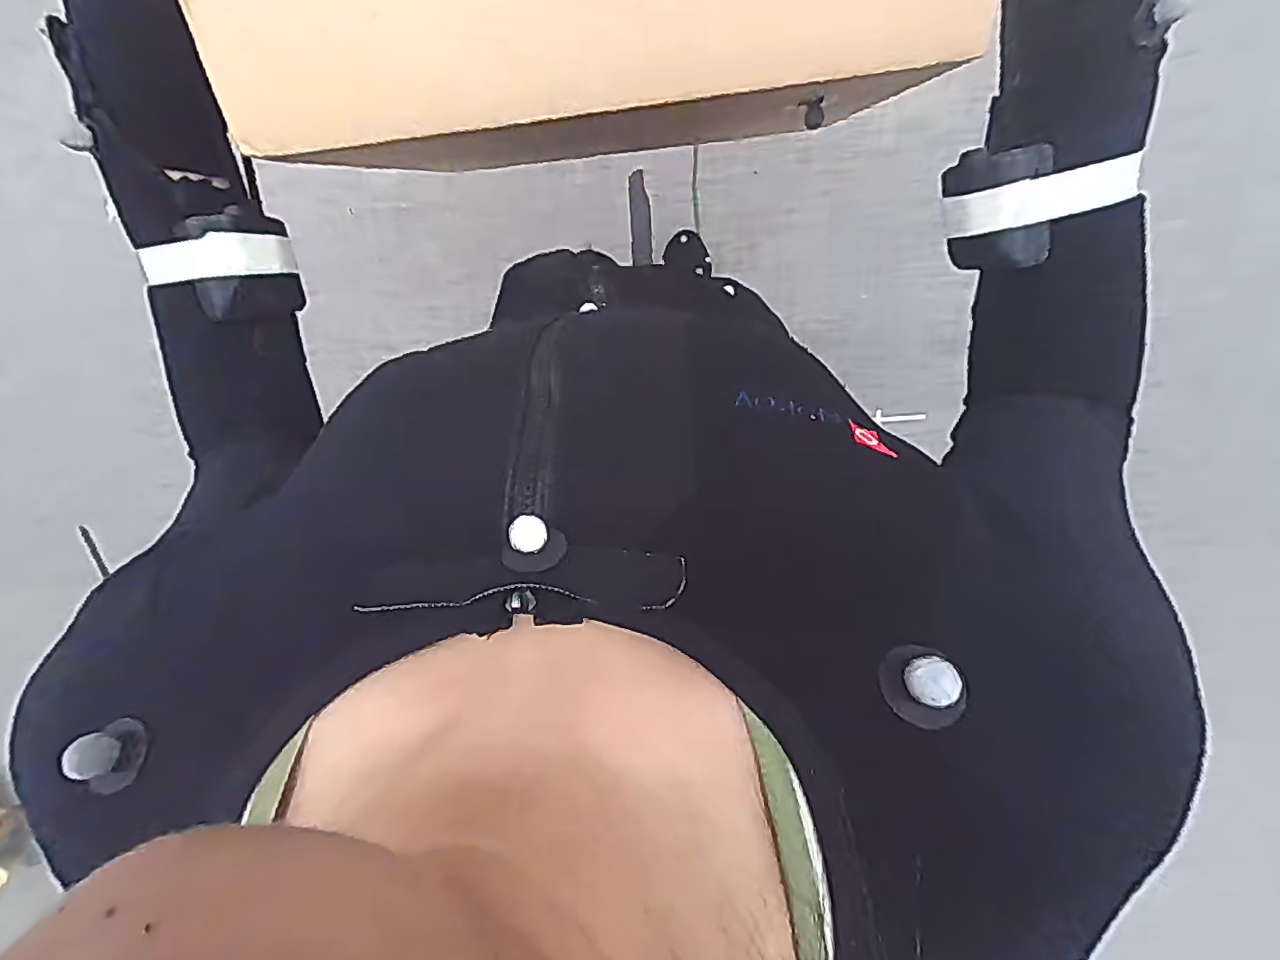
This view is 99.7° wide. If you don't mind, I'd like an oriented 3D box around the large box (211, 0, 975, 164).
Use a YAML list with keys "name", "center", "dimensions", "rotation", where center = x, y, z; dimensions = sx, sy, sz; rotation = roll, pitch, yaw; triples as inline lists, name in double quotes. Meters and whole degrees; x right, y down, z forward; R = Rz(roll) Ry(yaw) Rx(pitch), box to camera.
- name: "large box"
  center: [-0.032, -0.415, 0.361]
  dimensions: [0.408, 0.320, 0.320]
  rotation: [-4, 118, 6]
